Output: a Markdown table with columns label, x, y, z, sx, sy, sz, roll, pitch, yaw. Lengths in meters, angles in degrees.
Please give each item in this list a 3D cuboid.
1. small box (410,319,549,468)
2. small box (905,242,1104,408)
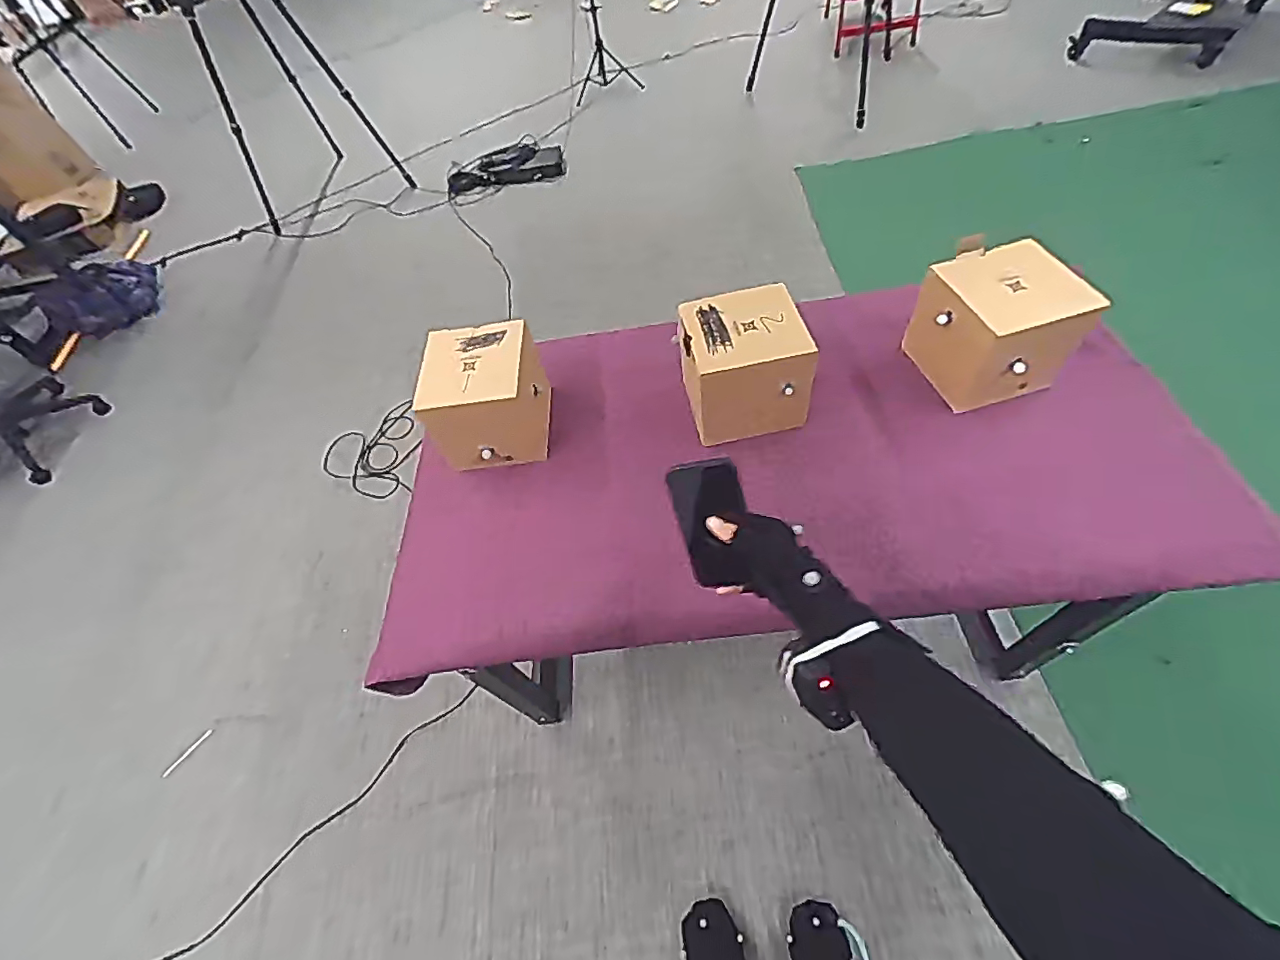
| label | x | y | z | sx | sy | sz | roll | pitch | yaw |
| --- | --- | --- | --- | --- | --- | --- | --- | --- | --- |
| small box | -0.256 | -0.142 | 0.911 | 0.168 | 0.176 | 0.179 | -6 | 57 | 5 |
| small box | 0.551 | -0.233 | 0.849 | 0.168 | 0.176 | 0.179 | -16 | 55 | -1 |
